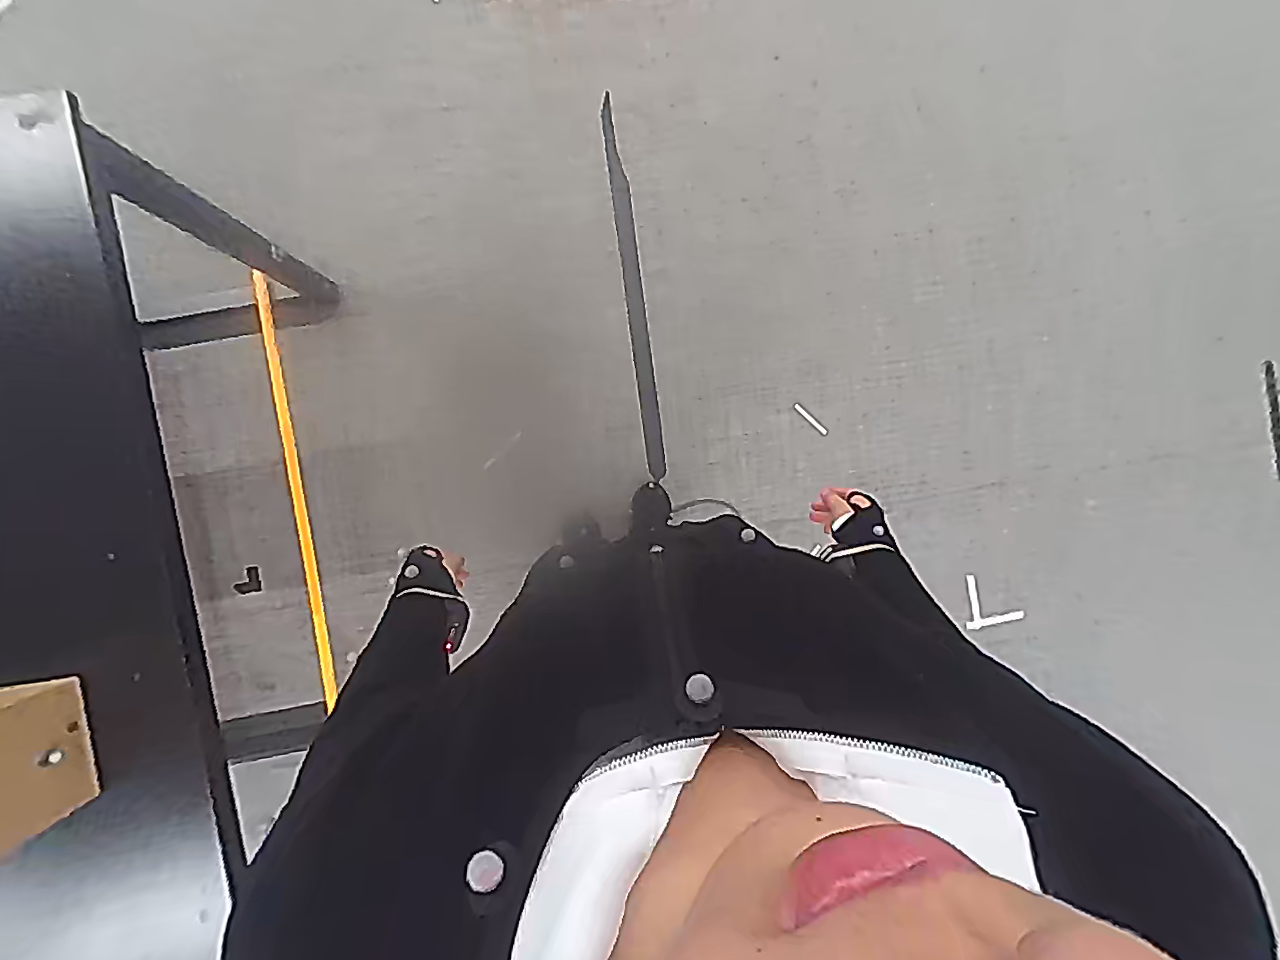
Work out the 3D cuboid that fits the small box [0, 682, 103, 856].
[{"bbox_3d":[-0.817,0.362,0.646,0.179,0.176,0.168,-8,93,-3],"label":"small box"}]
